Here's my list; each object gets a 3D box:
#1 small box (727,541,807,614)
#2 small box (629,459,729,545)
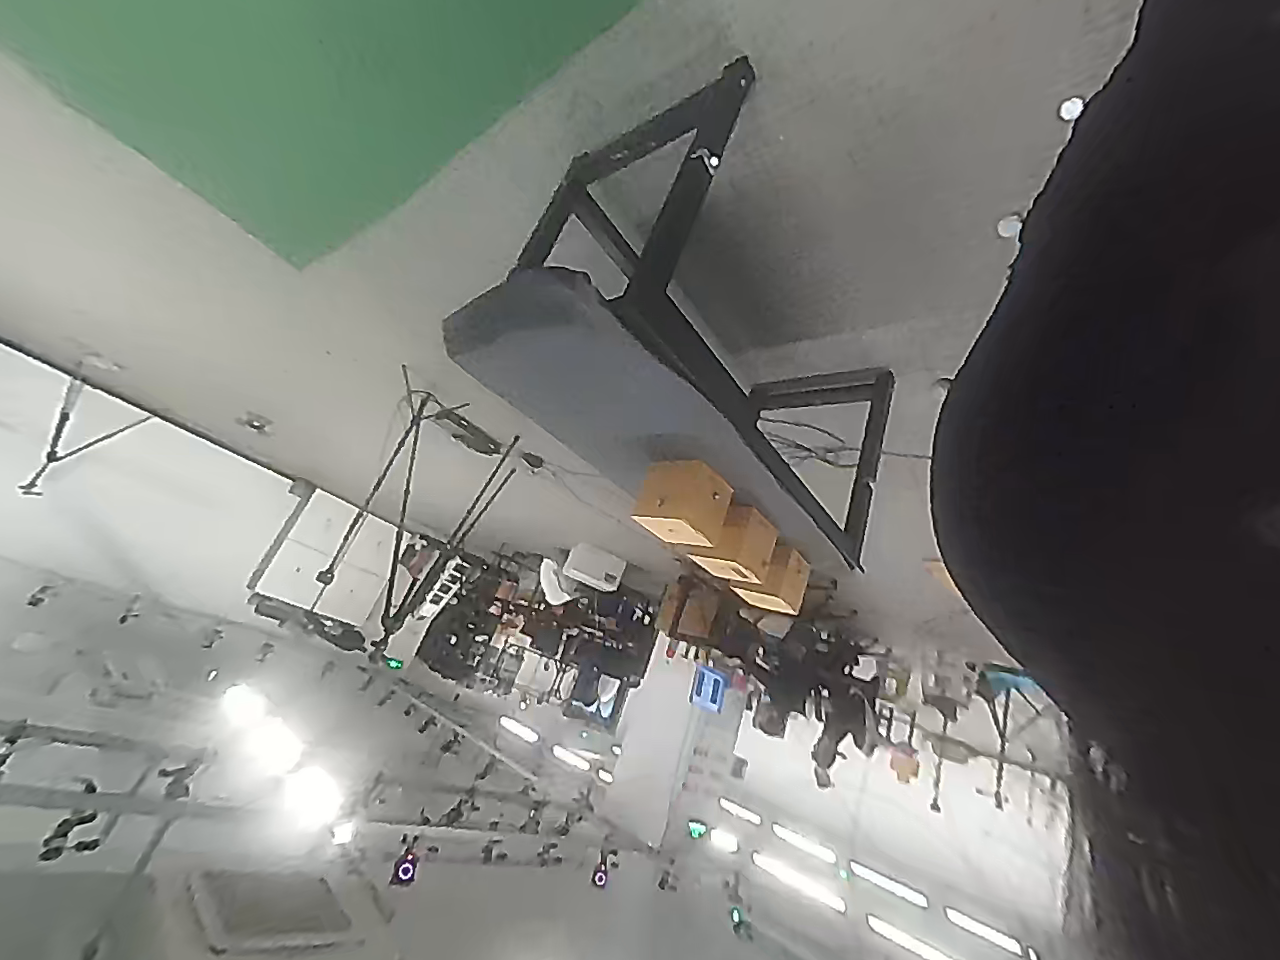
[{"bbox_3d":[0.412,0.307,1.735,0.179,0.176,0.168,4,153,41],"label":"small box"},{"bbox_3d":[0.105,0.054,1.417,0.179,0.176,0.168,-1,150,43],"label":"small box"}]
